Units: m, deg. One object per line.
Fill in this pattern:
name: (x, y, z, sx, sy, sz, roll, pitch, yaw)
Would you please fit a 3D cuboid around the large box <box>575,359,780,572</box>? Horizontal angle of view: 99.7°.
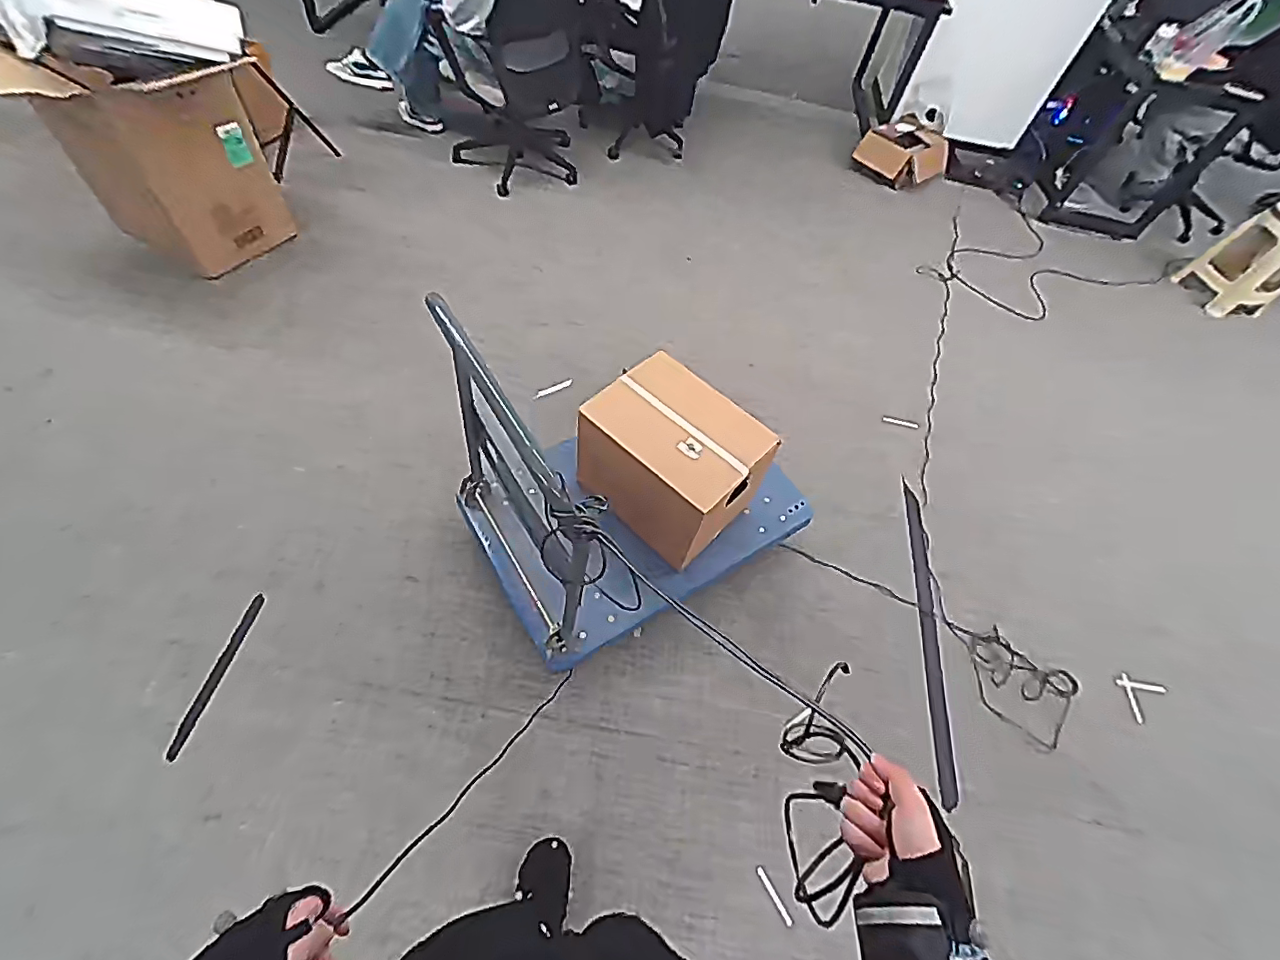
large box: (0.078, -0.039, 1.429, 0.408, 0.320, 0.320, 40, 60, 17)
